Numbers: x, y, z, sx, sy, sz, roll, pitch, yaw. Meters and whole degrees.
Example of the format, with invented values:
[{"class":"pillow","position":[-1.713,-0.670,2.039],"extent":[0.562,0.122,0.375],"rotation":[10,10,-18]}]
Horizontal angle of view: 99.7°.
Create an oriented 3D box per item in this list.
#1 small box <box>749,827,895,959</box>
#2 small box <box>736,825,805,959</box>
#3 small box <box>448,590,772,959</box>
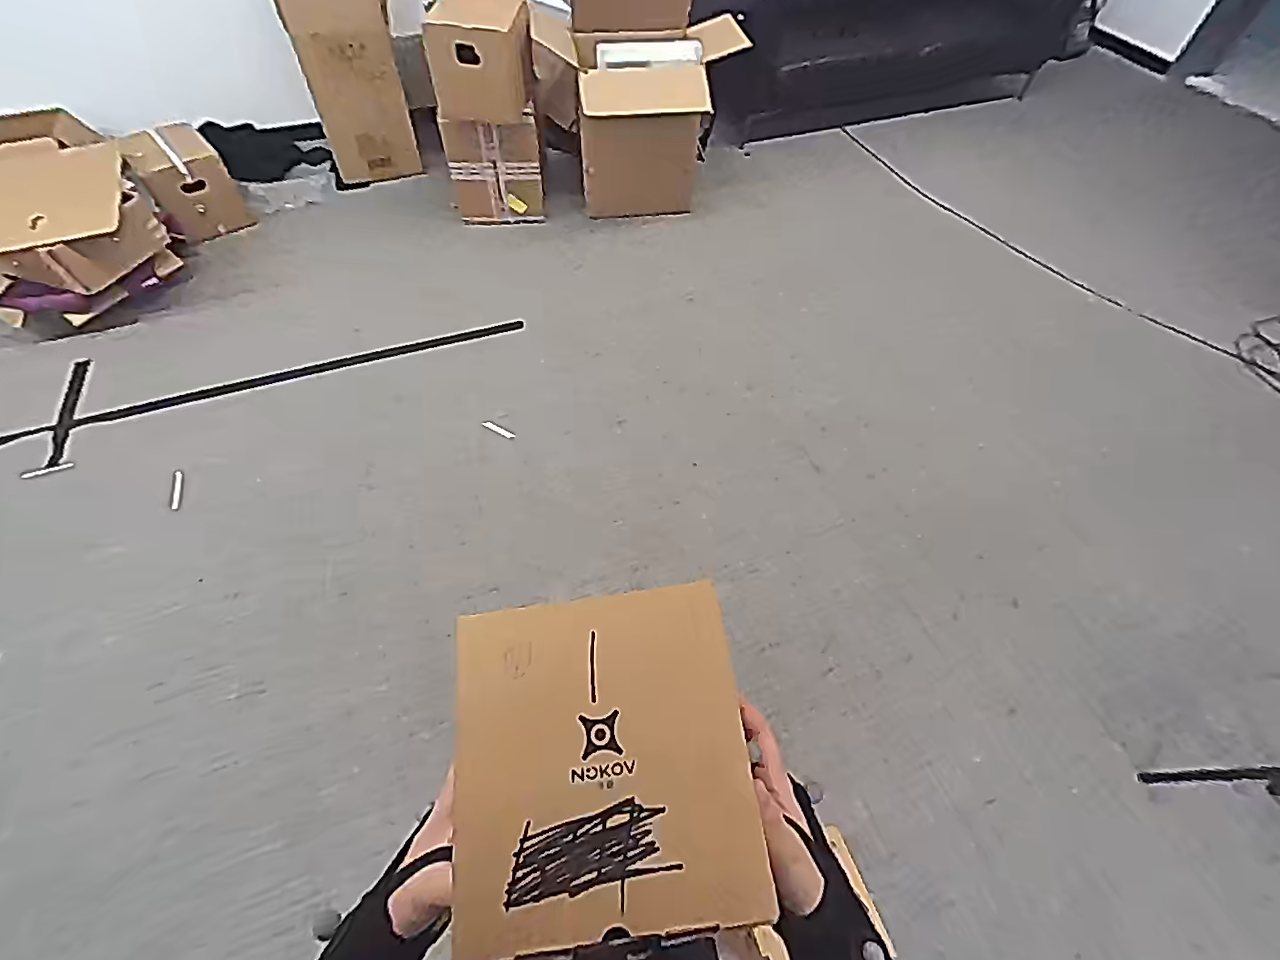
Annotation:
[{"class":"small box","position":[0.250,0.669,0.842],"extent":[0.179,0.176,0.168],"rotation":[-16,57,-11]},{"class":"small box","position":[0.240,0.757,0.980],"extent":[0.168,0.176,0.179],"rotation":[-15,57,-11]},{"class":"small box","position":[-0.020,0.189,0.373],"extent":[0.168,0.176,0.179],"rotation":[-7,64,-2]}]
